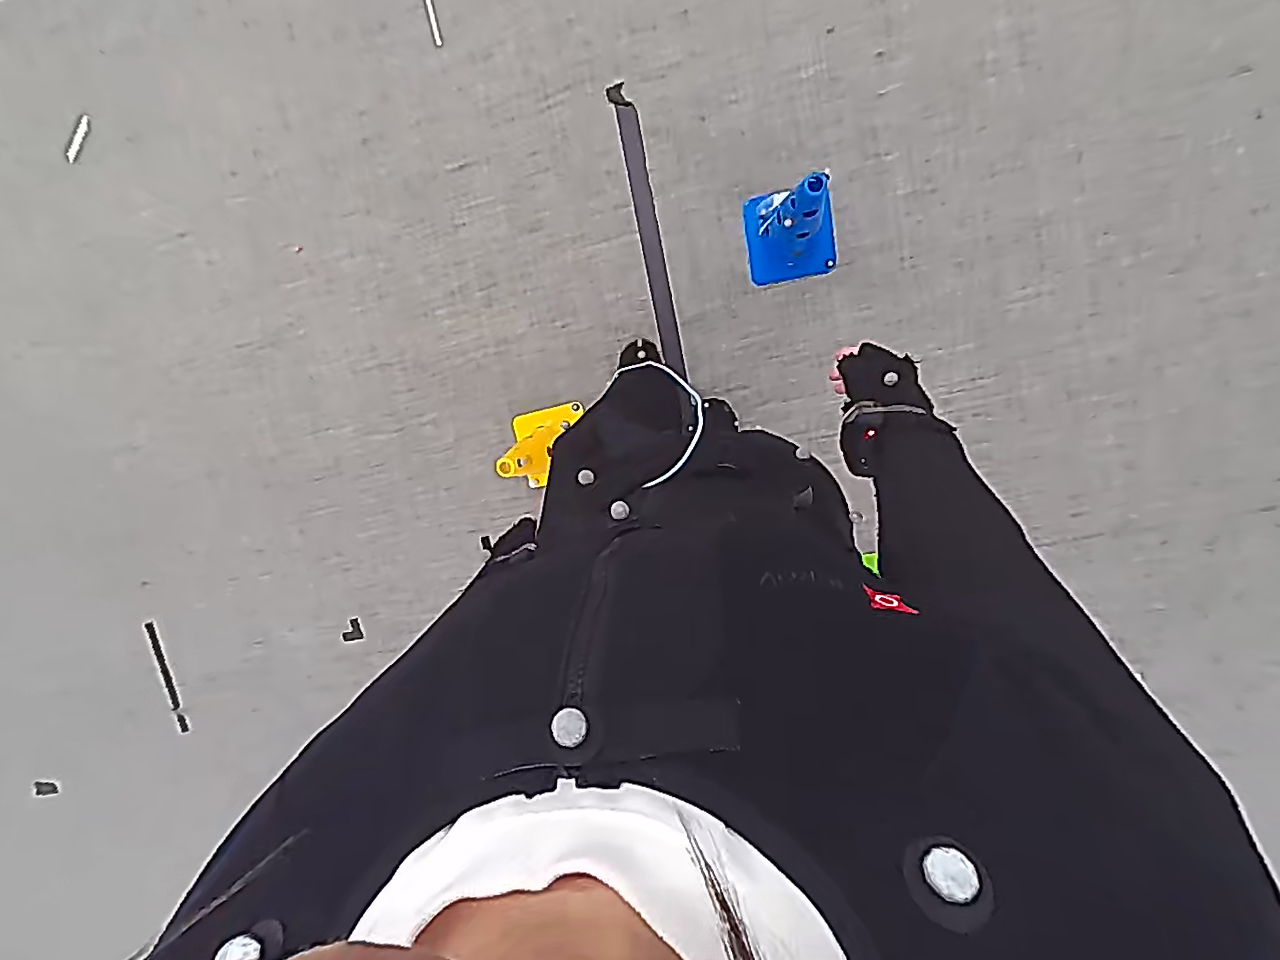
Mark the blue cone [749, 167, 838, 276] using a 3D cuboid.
[{"bbox_3d":[0.338,-0.558,1.117,0.192,0.380,0.193,-7,100,8],"label":"blue cone"}]
